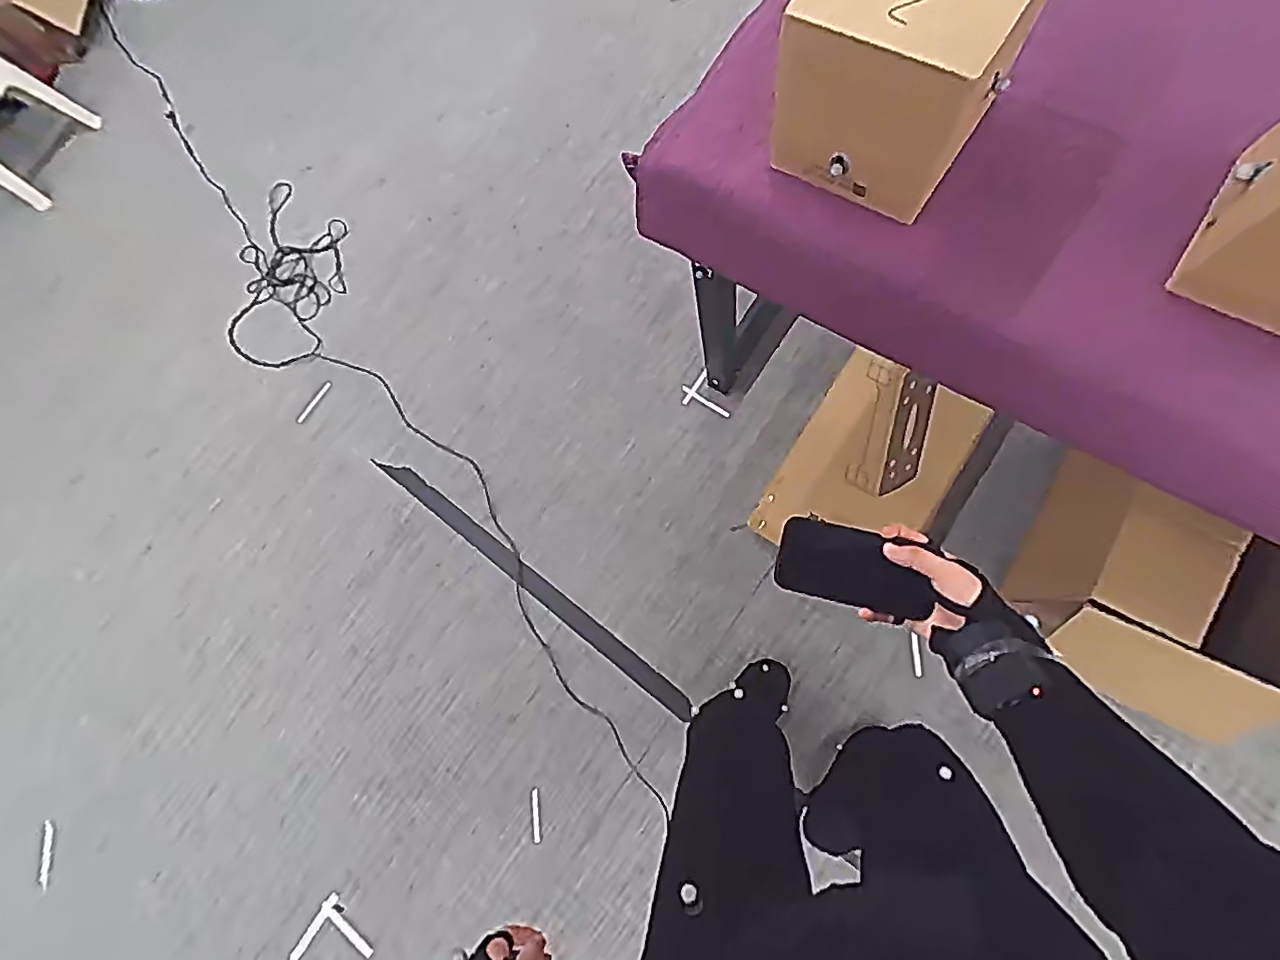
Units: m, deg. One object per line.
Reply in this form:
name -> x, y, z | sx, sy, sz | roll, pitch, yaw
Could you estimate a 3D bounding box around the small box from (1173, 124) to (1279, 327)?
small box -> 0.581, -0.219, 0.401 | 0.179, 0.176, 0.168 | 32, 83, 15
